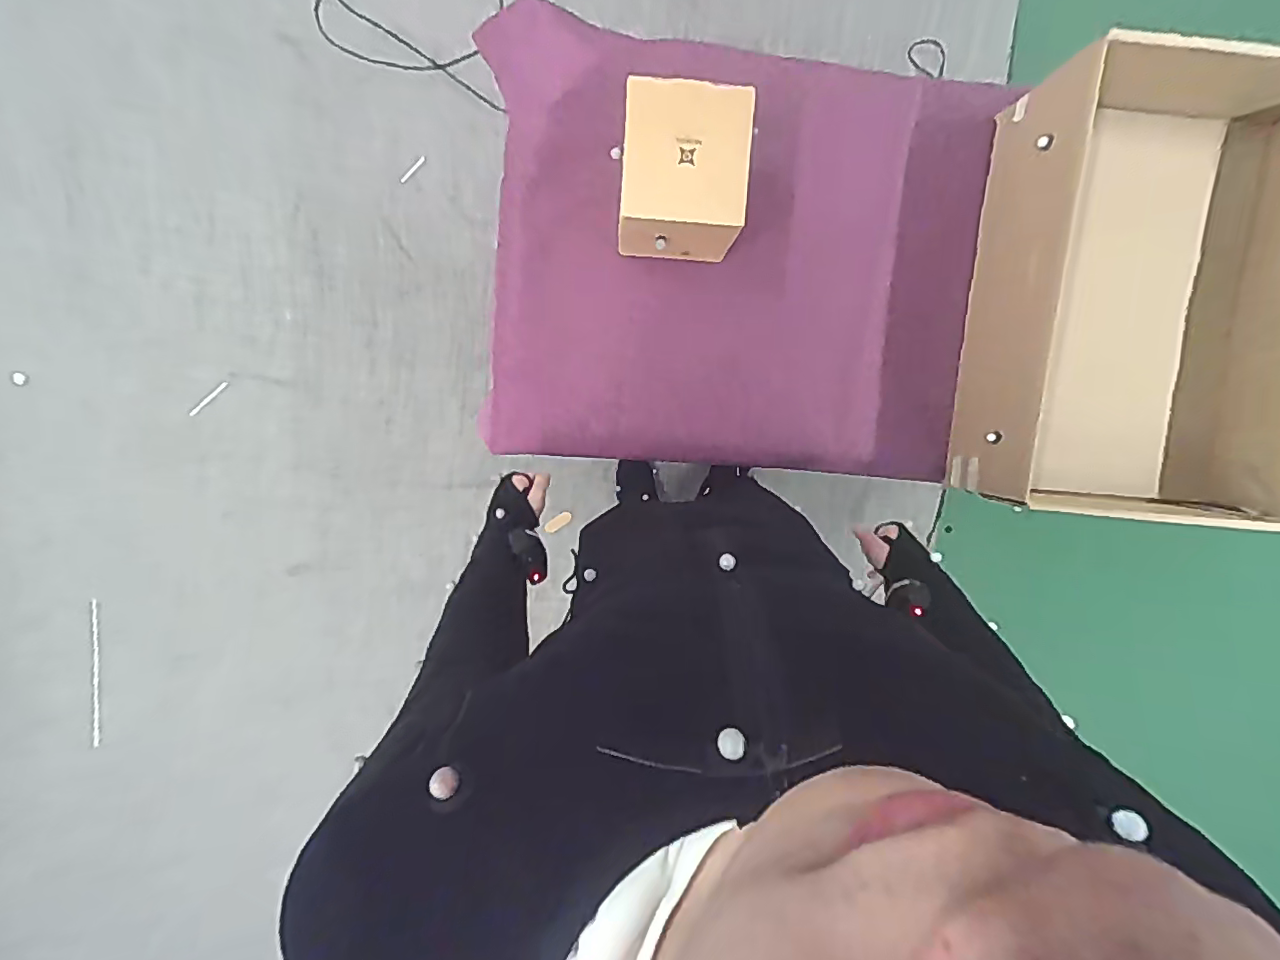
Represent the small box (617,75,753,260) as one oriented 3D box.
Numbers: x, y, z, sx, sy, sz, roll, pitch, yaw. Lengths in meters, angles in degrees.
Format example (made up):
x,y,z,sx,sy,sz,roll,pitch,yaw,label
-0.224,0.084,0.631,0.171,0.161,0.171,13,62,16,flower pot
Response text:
x,y,z,sx,sy,sz,roll,pitch,yaw,label
0.056,-0.431,0.775,0.168,0.176,0.179,3,95,-2,small box
